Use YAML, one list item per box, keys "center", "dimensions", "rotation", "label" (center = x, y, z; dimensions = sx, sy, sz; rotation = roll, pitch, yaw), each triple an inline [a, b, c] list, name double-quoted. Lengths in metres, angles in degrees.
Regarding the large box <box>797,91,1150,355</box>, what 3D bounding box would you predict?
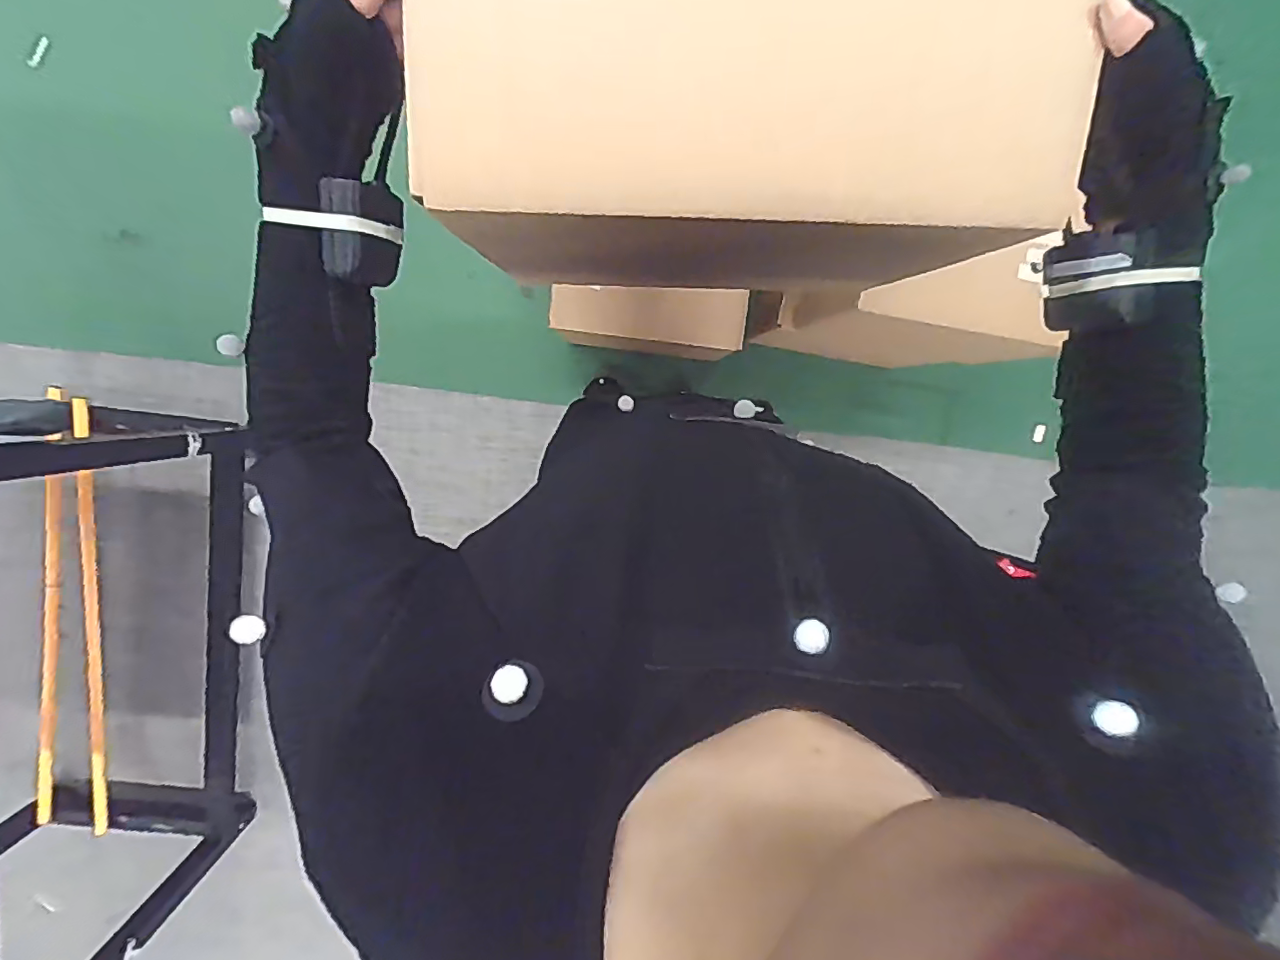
- center: [0.544, -0.417, 0.969]
  dimensions: [0.408, 0.320, 0.320]
  rotation: [8, 100, -4]
  label: "large box"
